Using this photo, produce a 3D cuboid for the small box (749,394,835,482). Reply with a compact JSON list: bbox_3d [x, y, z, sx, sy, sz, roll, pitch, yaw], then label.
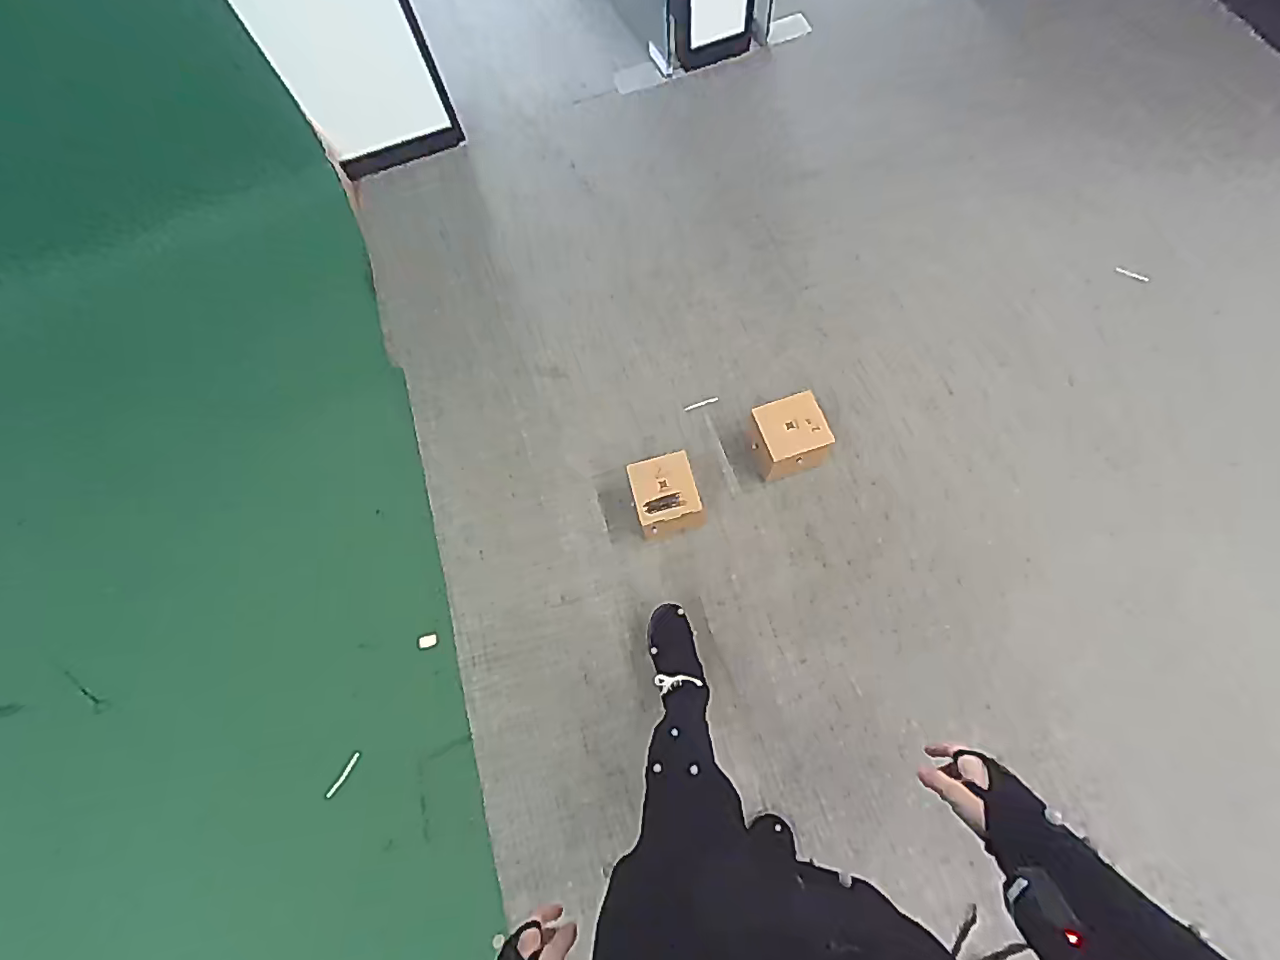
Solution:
[{"bbox_3d":[0.417,-0.110,1.523,0.179,0.176,0.168,-17,69,-2],"label":"small box"}]
